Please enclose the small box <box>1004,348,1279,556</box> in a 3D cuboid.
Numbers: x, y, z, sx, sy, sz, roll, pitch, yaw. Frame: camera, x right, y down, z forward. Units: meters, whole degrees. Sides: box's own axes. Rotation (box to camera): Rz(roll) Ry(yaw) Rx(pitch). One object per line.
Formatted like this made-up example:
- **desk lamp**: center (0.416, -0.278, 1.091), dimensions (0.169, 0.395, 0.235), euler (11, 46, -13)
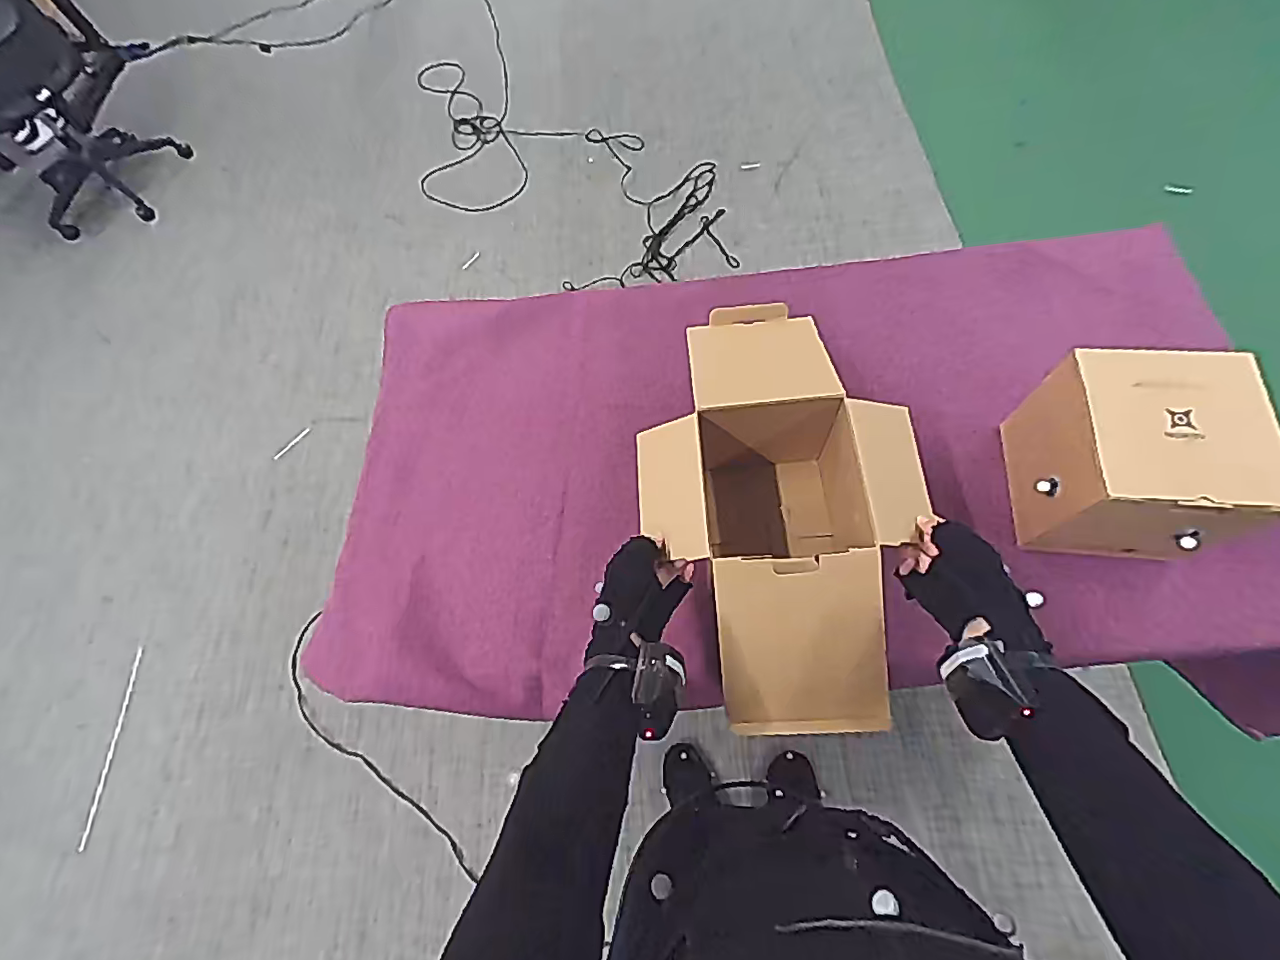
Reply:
- **small box**: center (0.539, -0.023, 0.601), dimensions (0.168, 0.176, 0.179), euler (4, 66, 10)
